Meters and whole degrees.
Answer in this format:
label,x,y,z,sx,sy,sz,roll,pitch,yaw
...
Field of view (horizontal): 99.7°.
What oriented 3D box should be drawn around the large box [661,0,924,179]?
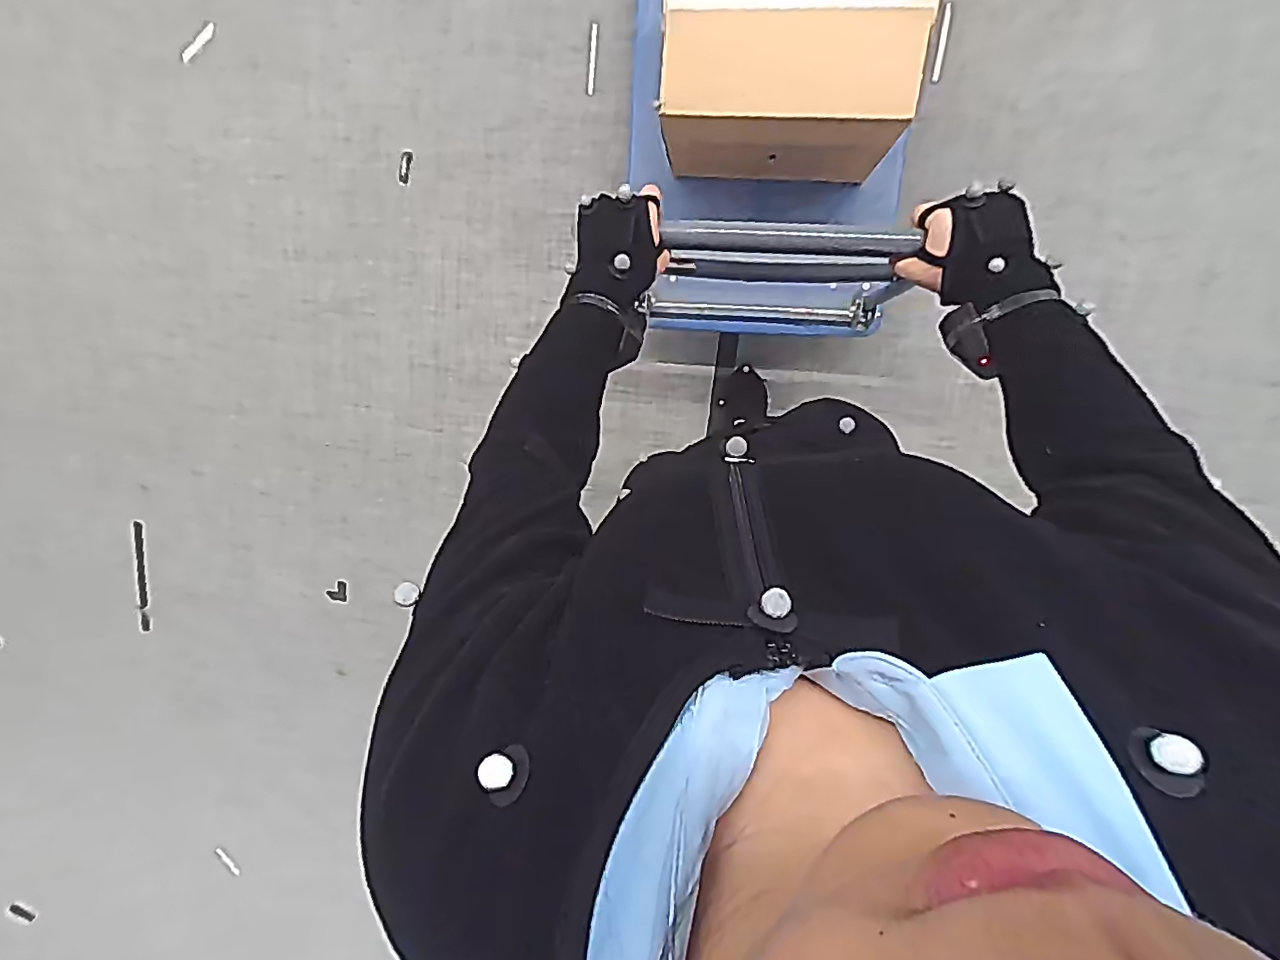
label,x,y,z,sx,sy,sz,roll,pitch,yaw
large box,0.263,-0.770,0.999,0.408,0.320,0.320,6,102,8
